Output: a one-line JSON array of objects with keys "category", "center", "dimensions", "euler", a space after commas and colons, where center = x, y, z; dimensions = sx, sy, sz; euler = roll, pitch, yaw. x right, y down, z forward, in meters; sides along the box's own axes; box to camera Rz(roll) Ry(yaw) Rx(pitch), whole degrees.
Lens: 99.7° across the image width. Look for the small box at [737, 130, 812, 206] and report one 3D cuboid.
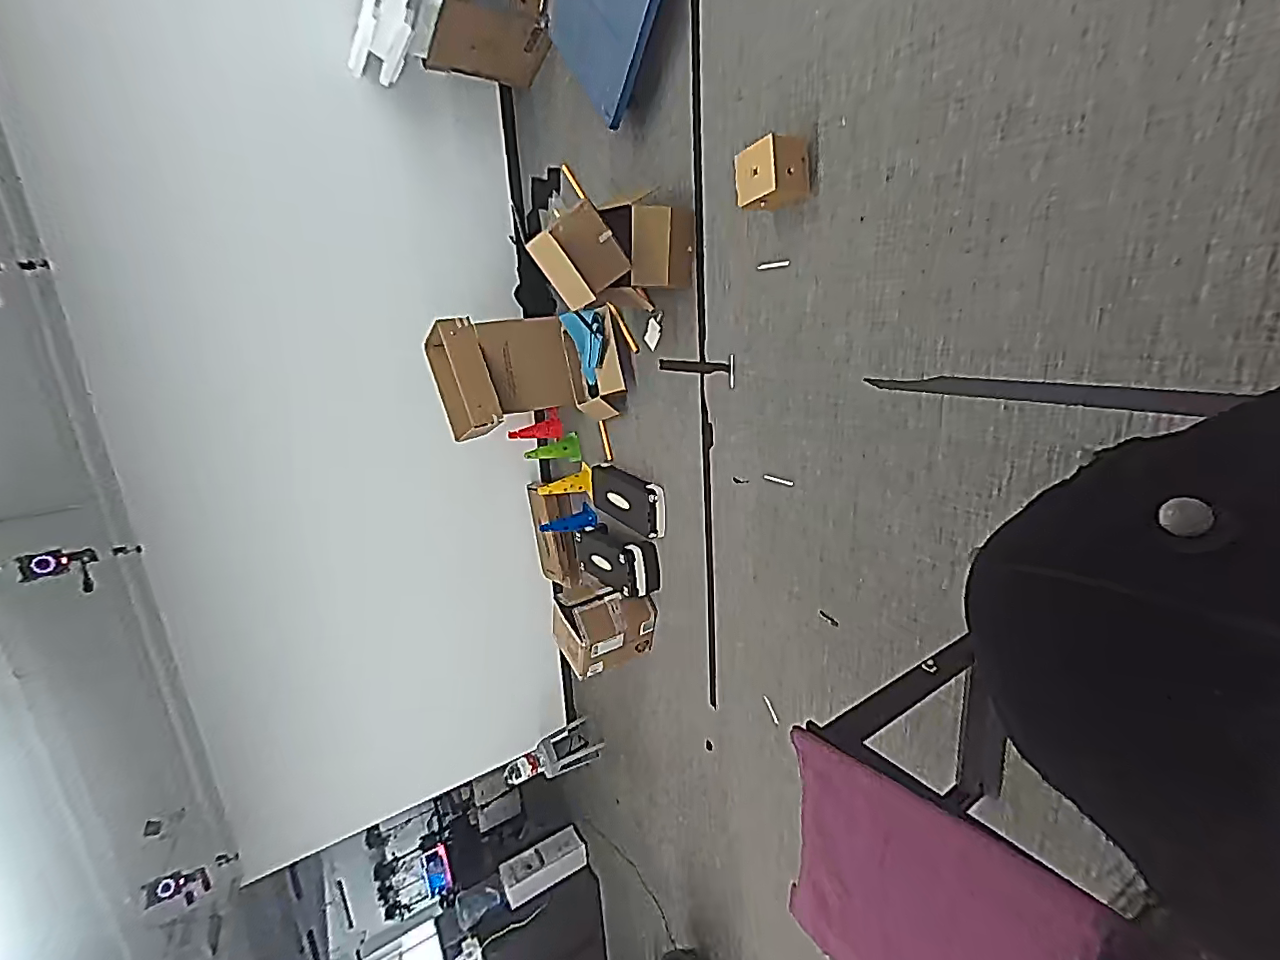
[{"category": "small box", "center": [0.446, -1.014, 1.772], "dimensions": [0.179, 0.176, 0.168], "euler": [10, 109, 59]}]
